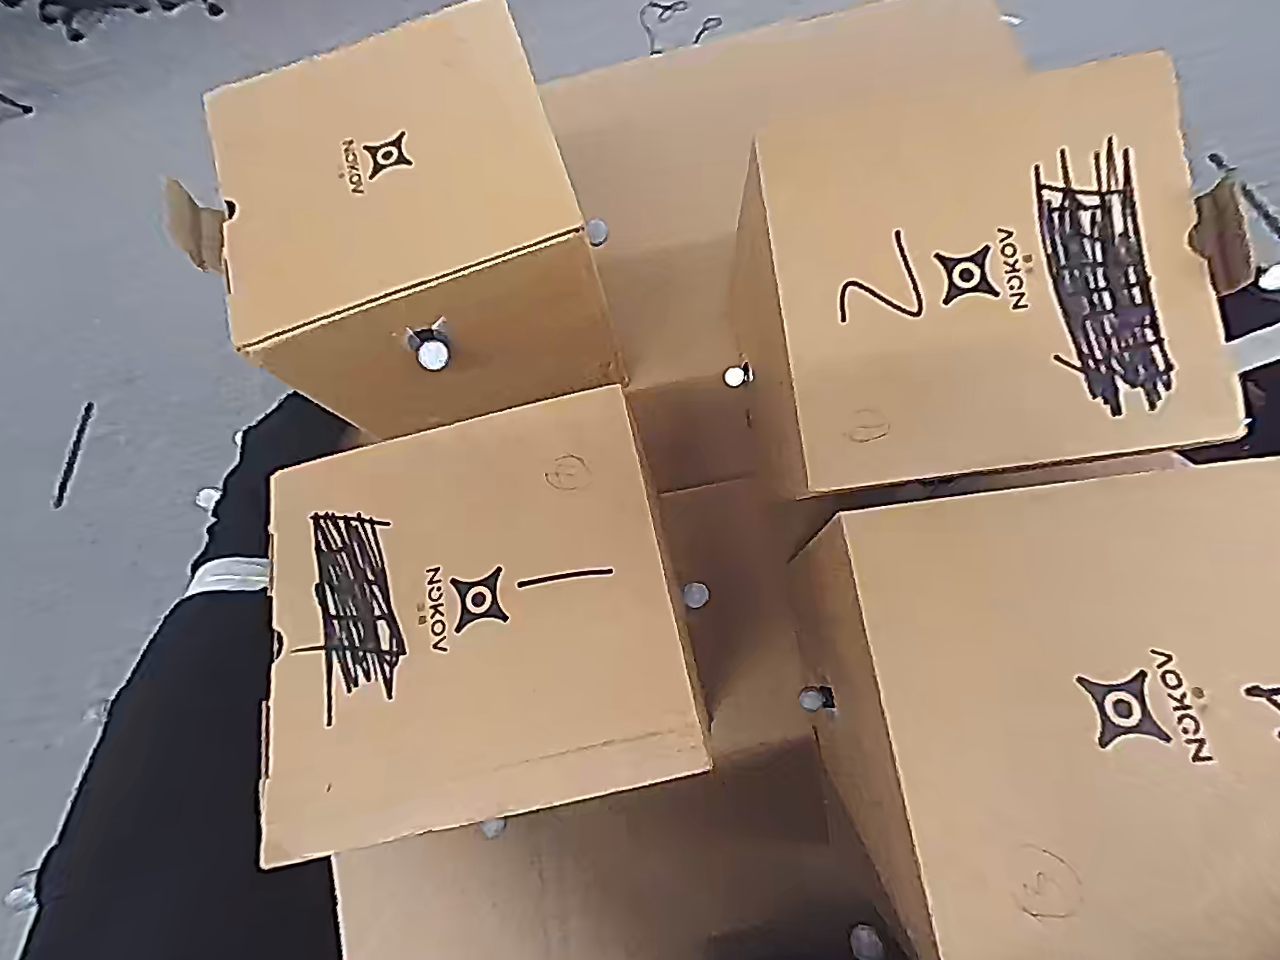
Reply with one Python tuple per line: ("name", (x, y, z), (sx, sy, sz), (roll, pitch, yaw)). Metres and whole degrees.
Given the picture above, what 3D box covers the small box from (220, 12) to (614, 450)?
("small box", (-0.123, -0.139, 0.358), (0.179, 0.176, 0.168), (-19, 73, 2))
